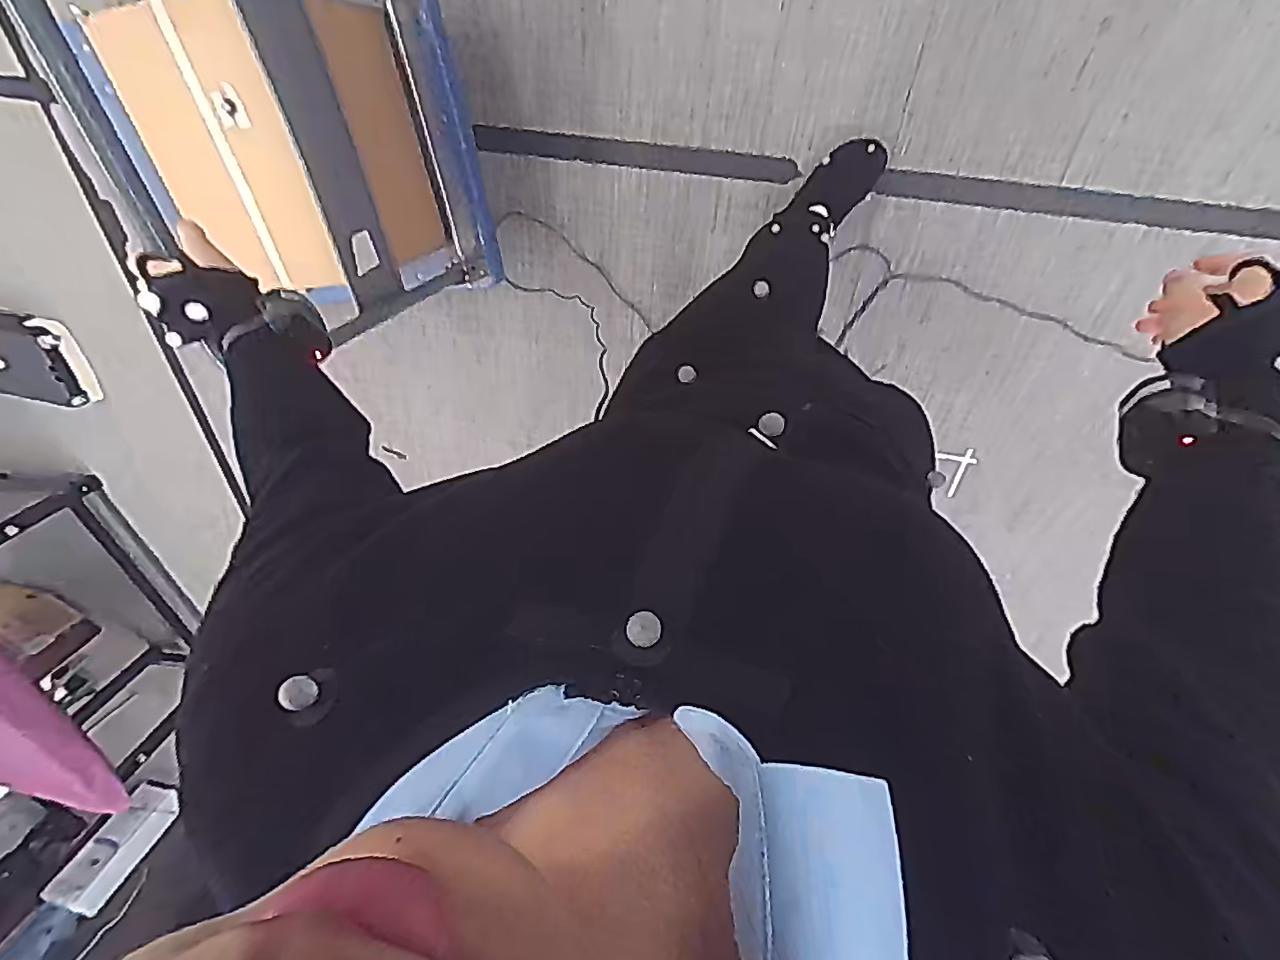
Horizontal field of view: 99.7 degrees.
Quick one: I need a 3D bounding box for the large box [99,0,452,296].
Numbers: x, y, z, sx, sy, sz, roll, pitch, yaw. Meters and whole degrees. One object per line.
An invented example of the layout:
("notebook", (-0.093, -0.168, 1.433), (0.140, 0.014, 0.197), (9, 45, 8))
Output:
("large box", (-0.608, -0.592, 0.997), (0.320, 0.320, 0.408), (0, 123, 13))
